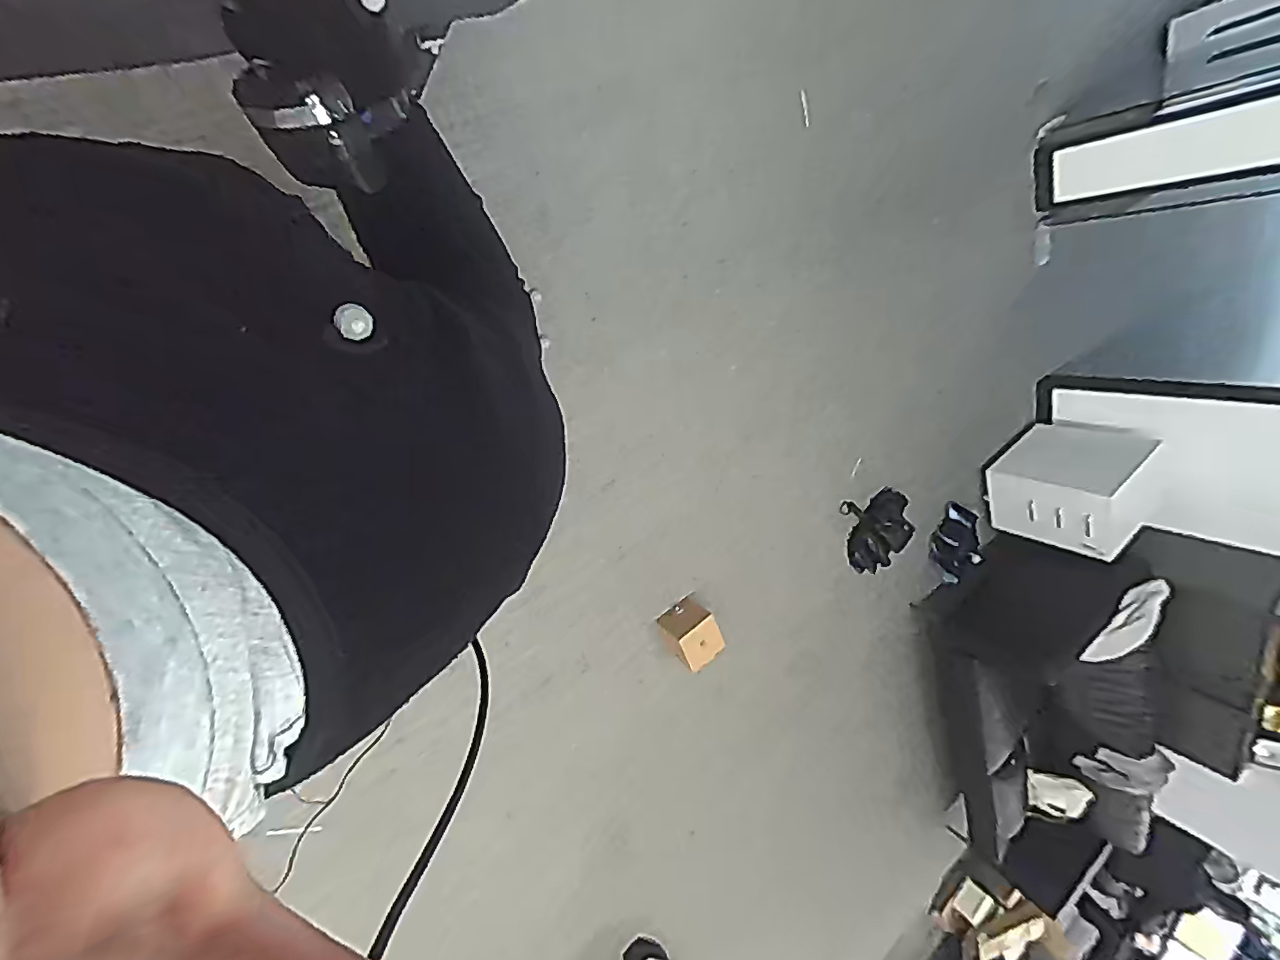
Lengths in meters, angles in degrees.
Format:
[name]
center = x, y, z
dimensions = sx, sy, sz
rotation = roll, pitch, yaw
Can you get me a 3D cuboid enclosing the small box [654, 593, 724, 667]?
[small box]
center = 0.184, 0.564, 2.051
dimensions = 0.168, 0.176, 0.179
rotation = -34, 117, -20
